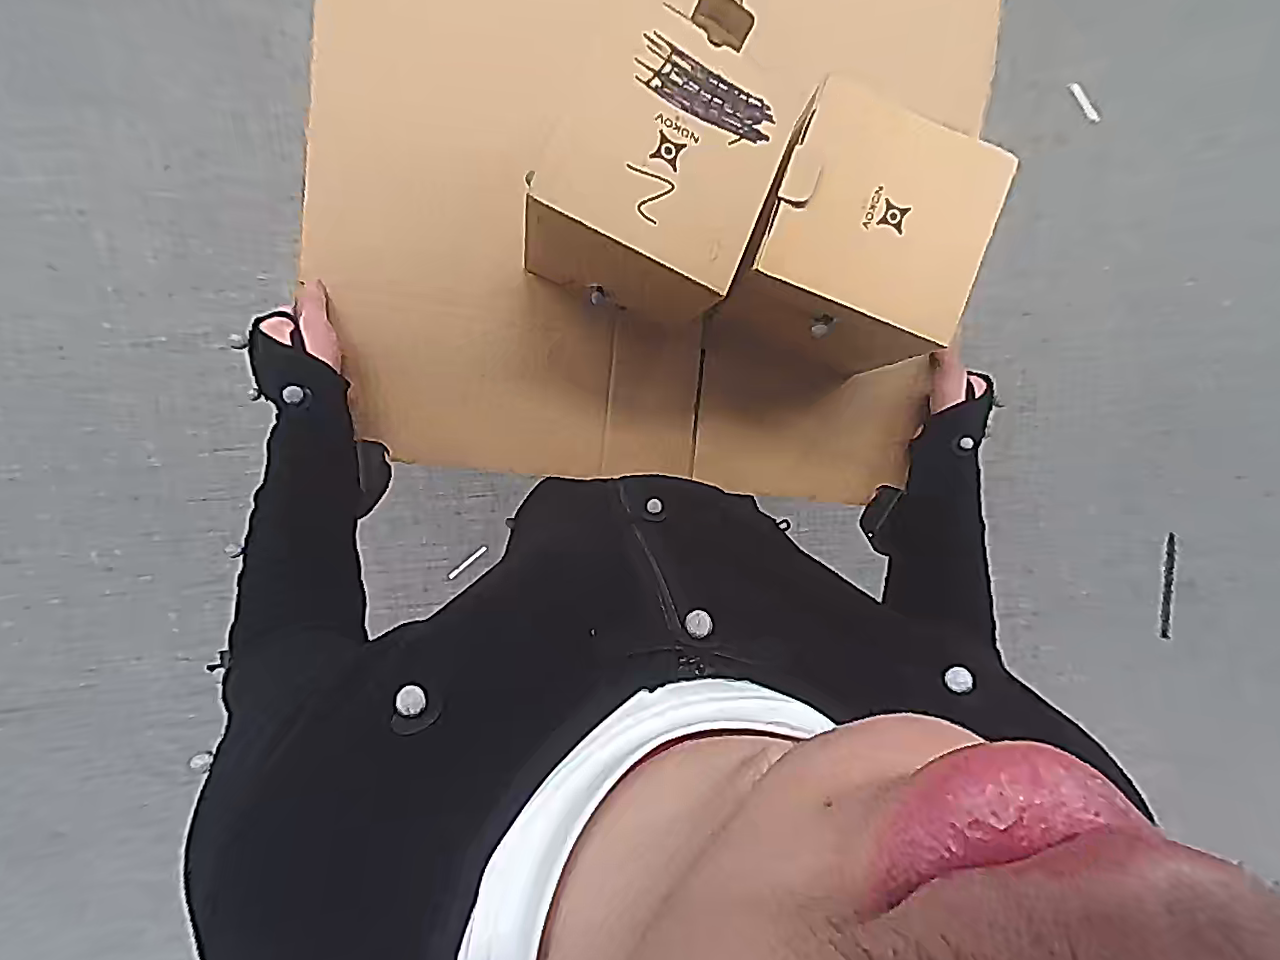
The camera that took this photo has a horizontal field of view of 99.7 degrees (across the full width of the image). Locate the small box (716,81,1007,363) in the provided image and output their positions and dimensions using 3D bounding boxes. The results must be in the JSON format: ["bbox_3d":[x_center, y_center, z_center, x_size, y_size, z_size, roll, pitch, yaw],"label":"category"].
[{"bbox_3d":[0.194,-0.224,0.525,0.179,0.176,0.168,19,91,-5],"label":"small box"}]
